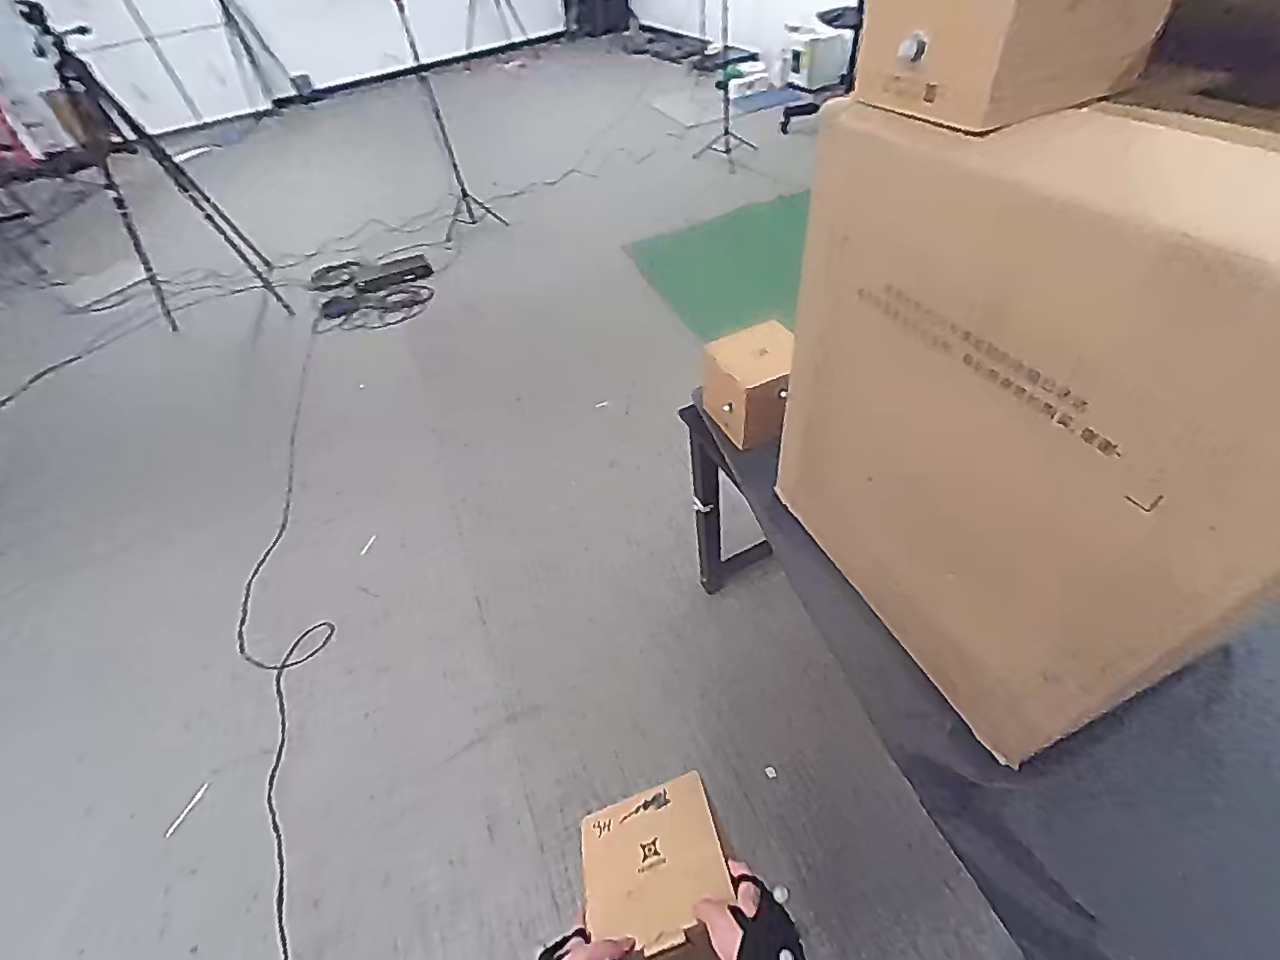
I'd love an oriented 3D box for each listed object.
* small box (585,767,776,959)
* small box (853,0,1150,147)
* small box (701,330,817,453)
[{"bbox_3d":[0.045,0.498,0.646,0.168,0.176,0.179,-23,20,-1],"label":"small box"},{"bbox_3d":[0.318,-0.424,0.480,0.179,0.176,0.168,-22,46,-10],"label":"small box"},{"bbox_3d":[0.243,-0.184,1.144,0.179,0.176,0.168,-22,50,-15],"label":"small box"}]
